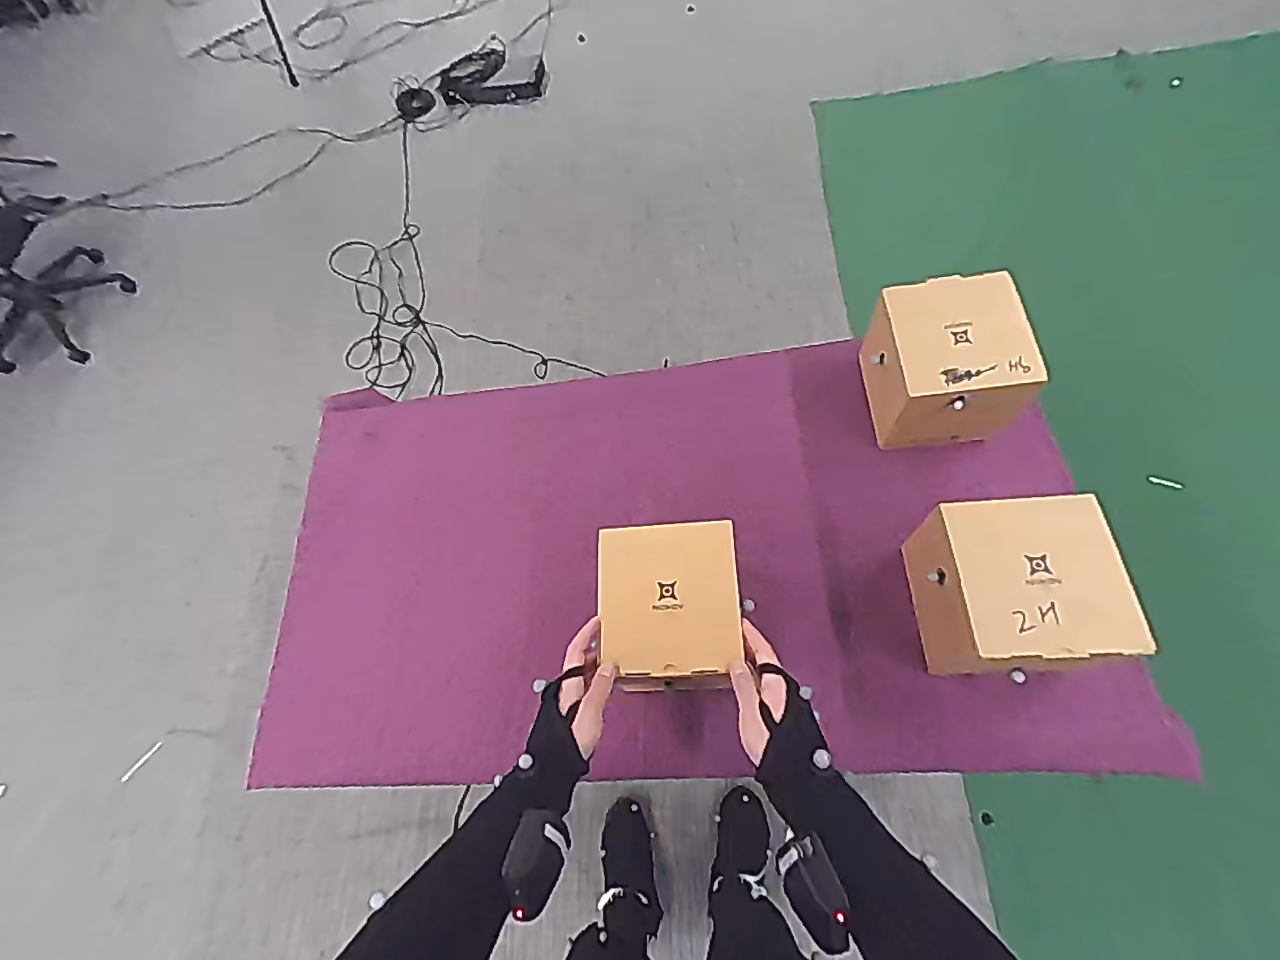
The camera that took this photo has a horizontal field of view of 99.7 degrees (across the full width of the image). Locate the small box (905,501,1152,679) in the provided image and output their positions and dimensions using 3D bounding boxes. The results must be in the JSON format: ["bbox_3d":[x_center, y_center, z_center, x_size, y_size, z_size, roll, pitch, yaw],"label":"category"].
[{"bbox_3d":[0.440,0.140,0.653,0.168,0.176,0.179,-4,65,9],"label":"small box"}]

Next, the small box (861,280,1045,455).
[{"bbox_3d":[0.432,-0.154,0.783,0.168,0.176,0.179,-6,67,9],"label":"small box"}]

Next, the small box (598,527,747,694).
[{"bbox_3d":[0.044,0.174,0.696,0.168,0.176,0.179,-5,64,7],"label":"small box"}]
